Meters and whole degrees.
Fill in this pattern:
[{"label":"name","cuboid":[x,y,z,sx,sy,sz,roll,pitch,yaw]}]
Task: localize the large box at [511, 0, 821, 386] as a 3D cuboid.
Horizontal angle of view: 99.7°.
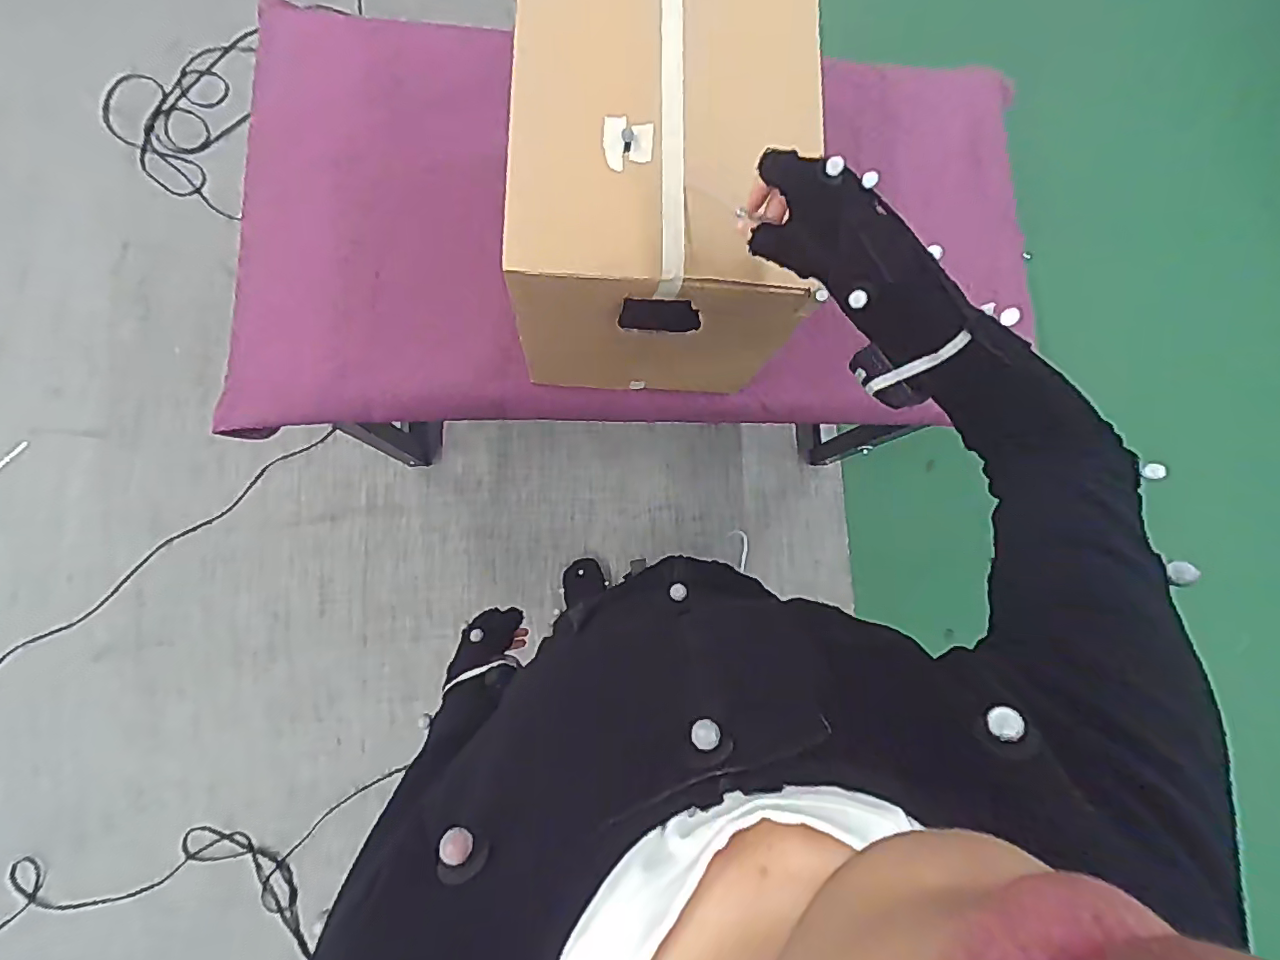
[{"label":"large box","cuboid":[0.012,-0.366,0.696,0.320,0.320,0.408,2,82,-6]}]
